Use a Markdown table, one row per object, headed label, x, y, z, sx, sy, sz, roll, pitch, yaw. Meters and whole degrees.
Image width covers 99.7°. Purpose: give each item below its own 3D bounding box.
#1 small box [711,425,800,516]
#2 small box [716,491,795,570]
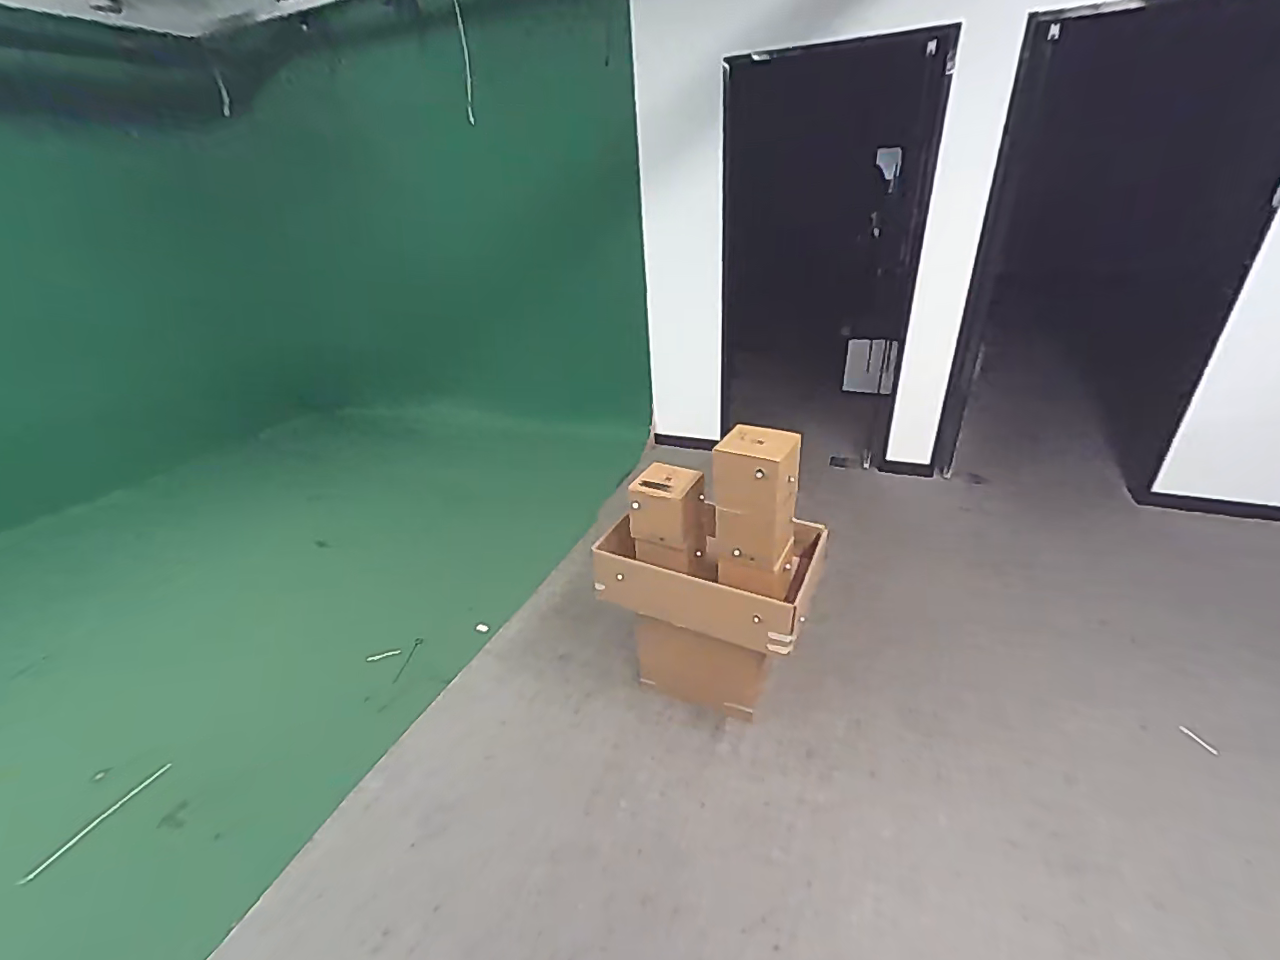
| label | x | y | z | sx | sy | sz | roll | pitch | yaw |
| --- | --- | --- | --- | --- | --- | --- | --- | --- | --- |
| small box | 0.300 | -0.024 | 1.399 | 0.179 | 0.176 | 0.168 | 12 | 33 | 31 |
| small box | 0.317 | 0.118 | 1.482 | 0.168 | 0.176 | 0.179 | 11 | 34 | 29 |
